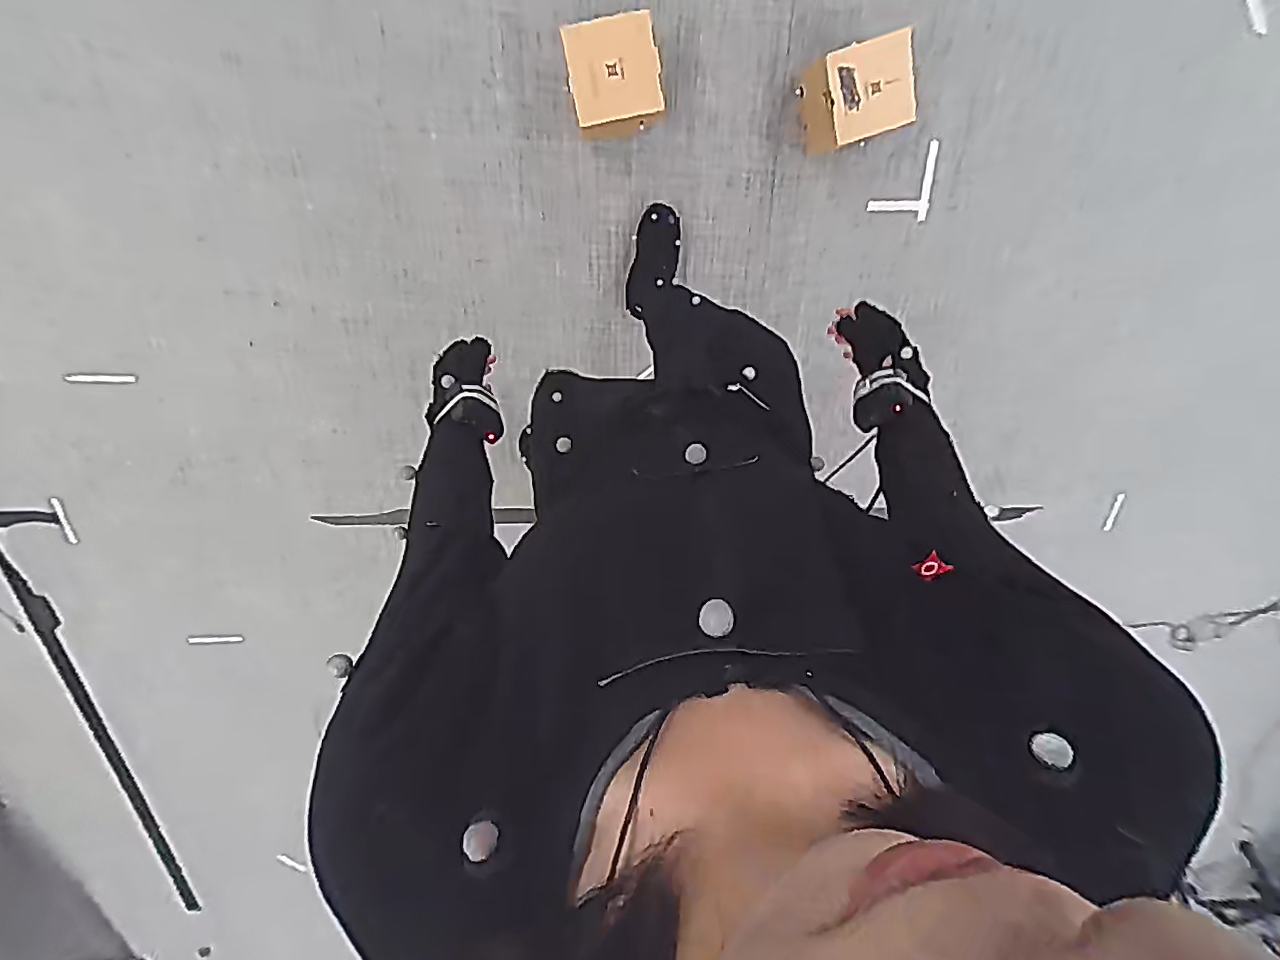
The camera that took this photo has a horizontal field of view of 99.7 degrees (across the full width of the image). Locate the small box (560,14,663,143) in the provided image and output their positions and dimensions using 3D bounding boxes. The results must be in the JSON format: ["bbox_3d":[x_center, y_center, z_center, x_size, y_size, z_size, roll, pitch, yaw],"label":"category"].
[{"bbox_3d":[-0.061,-0.817,1.117,0.179,0.176,0.168,-12,114,0],"label":"small box"}]

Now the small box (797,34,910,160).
[{"bbox_3d":[0.454,-0.817,1.173,0.179,0.176,0.168,-17,115,1],"label":"small box"}]
